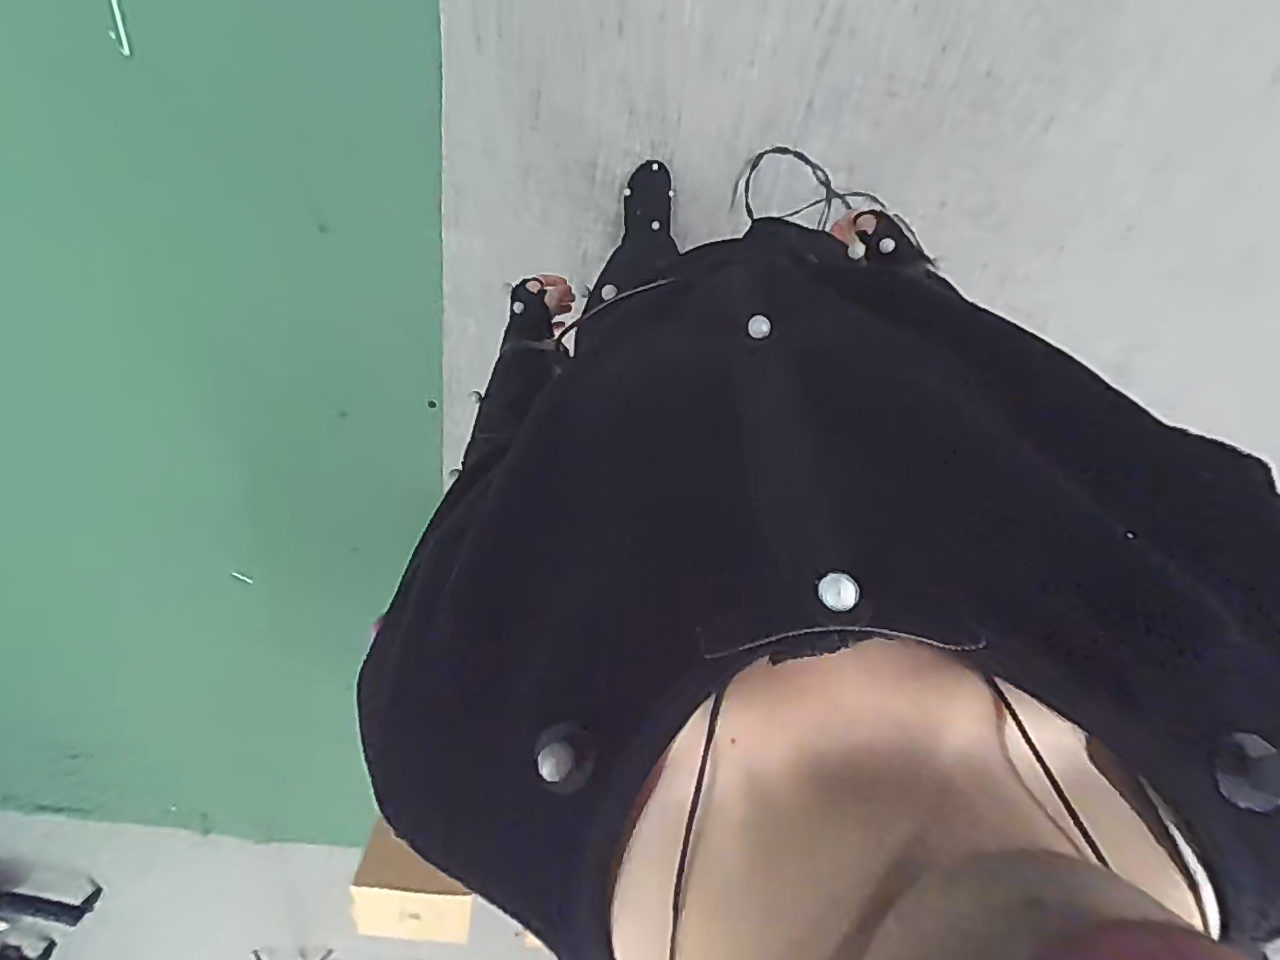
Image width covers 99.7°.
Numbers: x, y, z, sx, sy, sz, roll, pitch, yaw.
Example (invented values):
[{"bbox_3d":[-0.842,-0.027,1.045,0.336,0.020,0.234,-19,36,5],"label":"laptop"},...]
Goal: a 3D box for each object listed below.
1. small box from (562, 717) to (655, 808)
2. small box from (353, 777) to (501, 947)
[{"bbox_3d":[-0.060,0.593,1.052,0.168,0.176,0.179,4,120,-2],"label":"small box"},{"bbox_3d":[-0.339,0.614,0.879,0.179,0.176,0.168,11,119,-7],"label":"small box"}]
